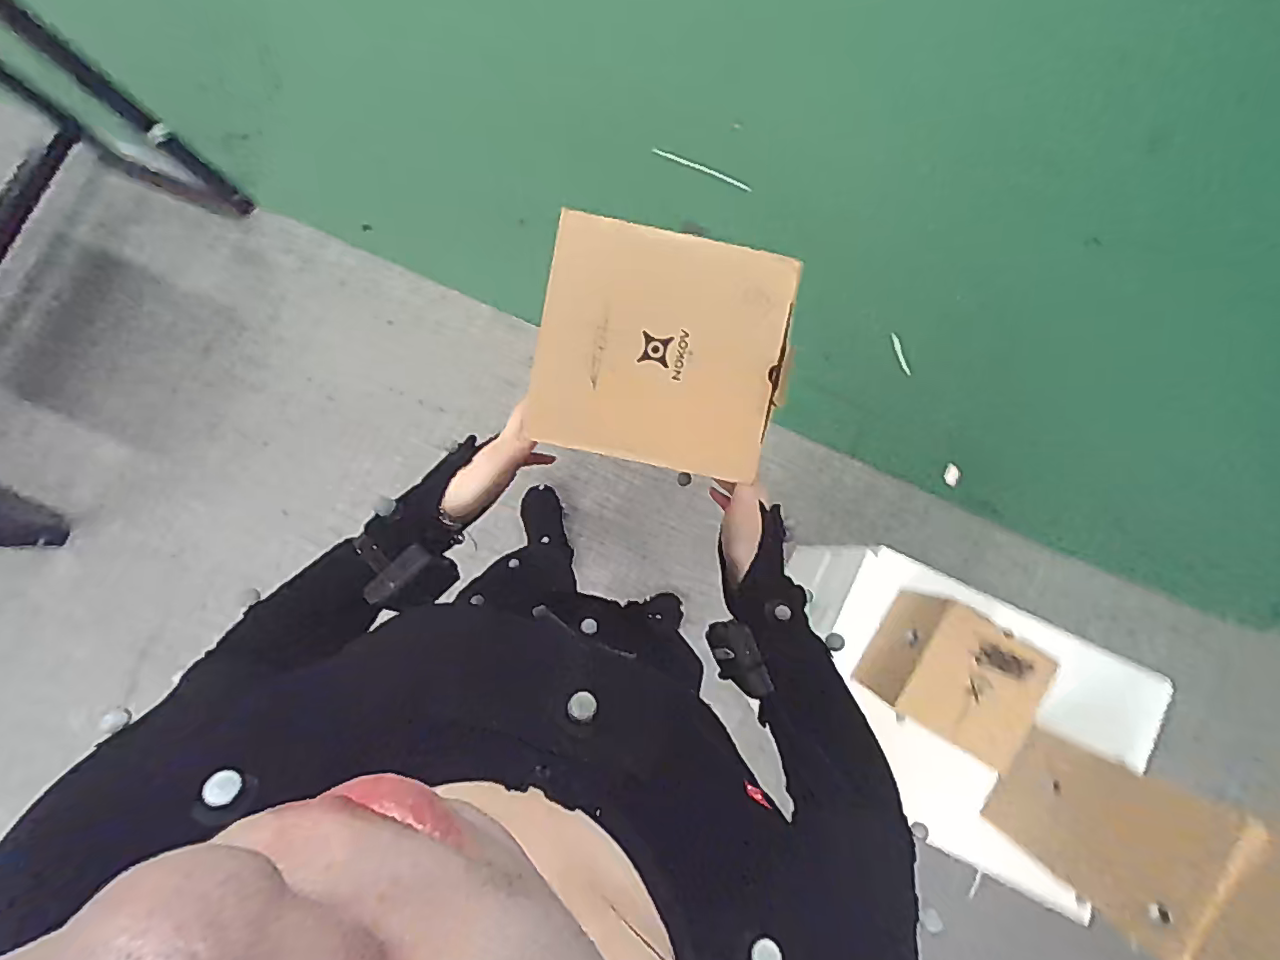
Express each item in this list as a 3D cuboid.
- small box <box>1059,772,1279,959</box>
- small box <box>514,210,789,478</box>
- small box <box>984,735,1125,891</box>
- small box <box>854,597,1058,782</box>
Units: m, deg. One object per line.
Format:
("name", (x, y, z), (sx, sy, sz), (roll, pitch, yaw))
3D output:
("small box", (0.636, 0.475, 0.612), (0.168, 0.176, 0.179), (33, 84, 6))
("small box", (0.007, -0.102, 0.469), (0.179, 0.176, 0.168), (10, 93, -1))
("small box", (0.641, 0.502, 0.772), (0.168, 0.176, 0.179), (34, 84, 6))
("small box", (0.452, 0.293, 0.805), (0.168, 0.176, 0.179), (32, 86, 5))
